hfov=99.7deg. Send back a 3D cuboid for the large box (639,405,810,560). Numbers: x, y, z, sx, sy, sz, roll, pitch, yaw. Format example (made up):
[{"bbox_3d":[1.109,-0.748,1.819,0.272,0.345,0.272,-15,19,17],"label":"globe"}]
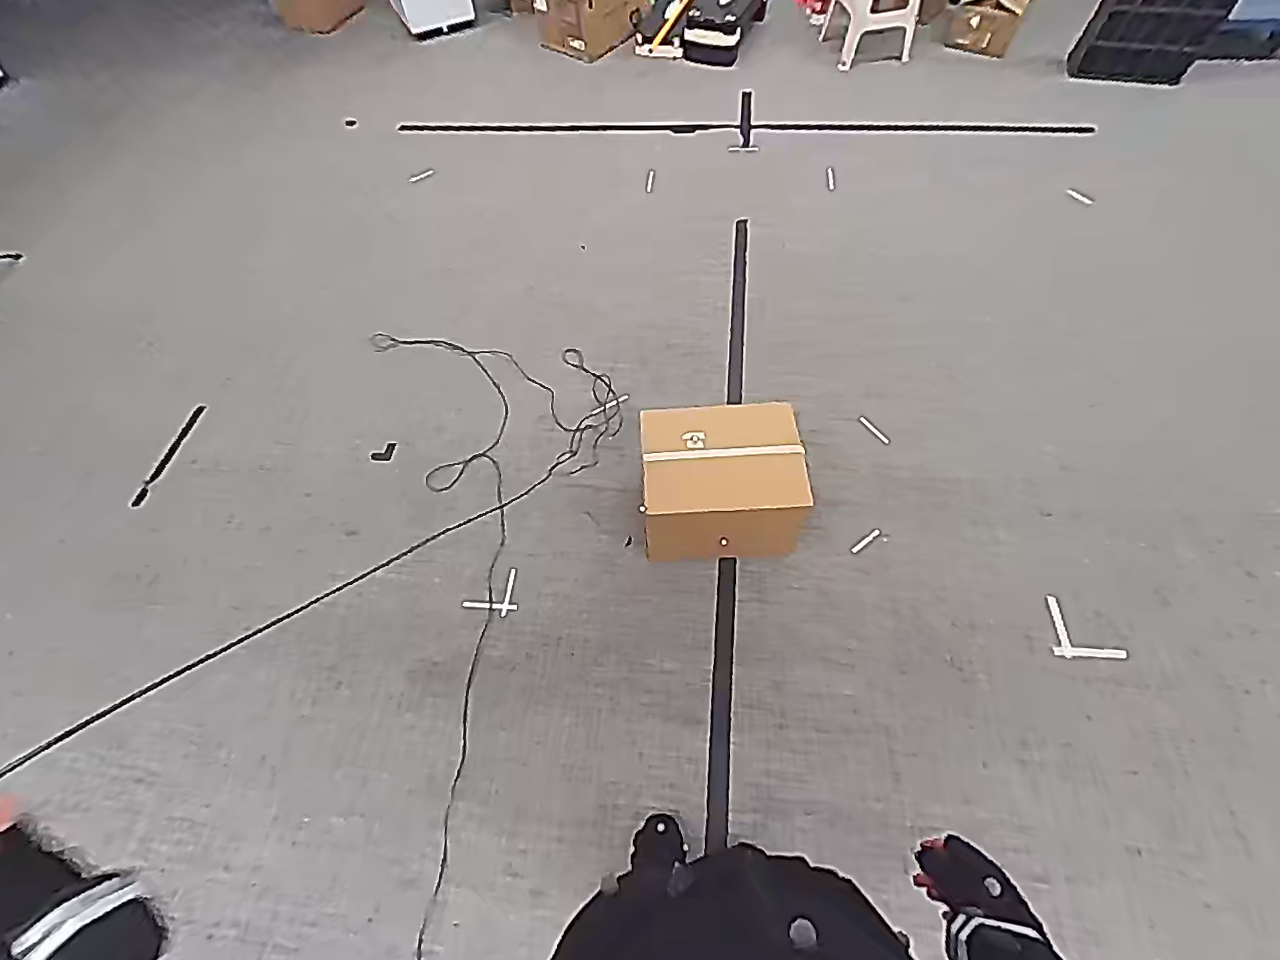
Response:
[{"bbox_3d":[0.213,0.019,1.494,0.408,0.320,0.320,-3,60,2],"label":"large box"}]
